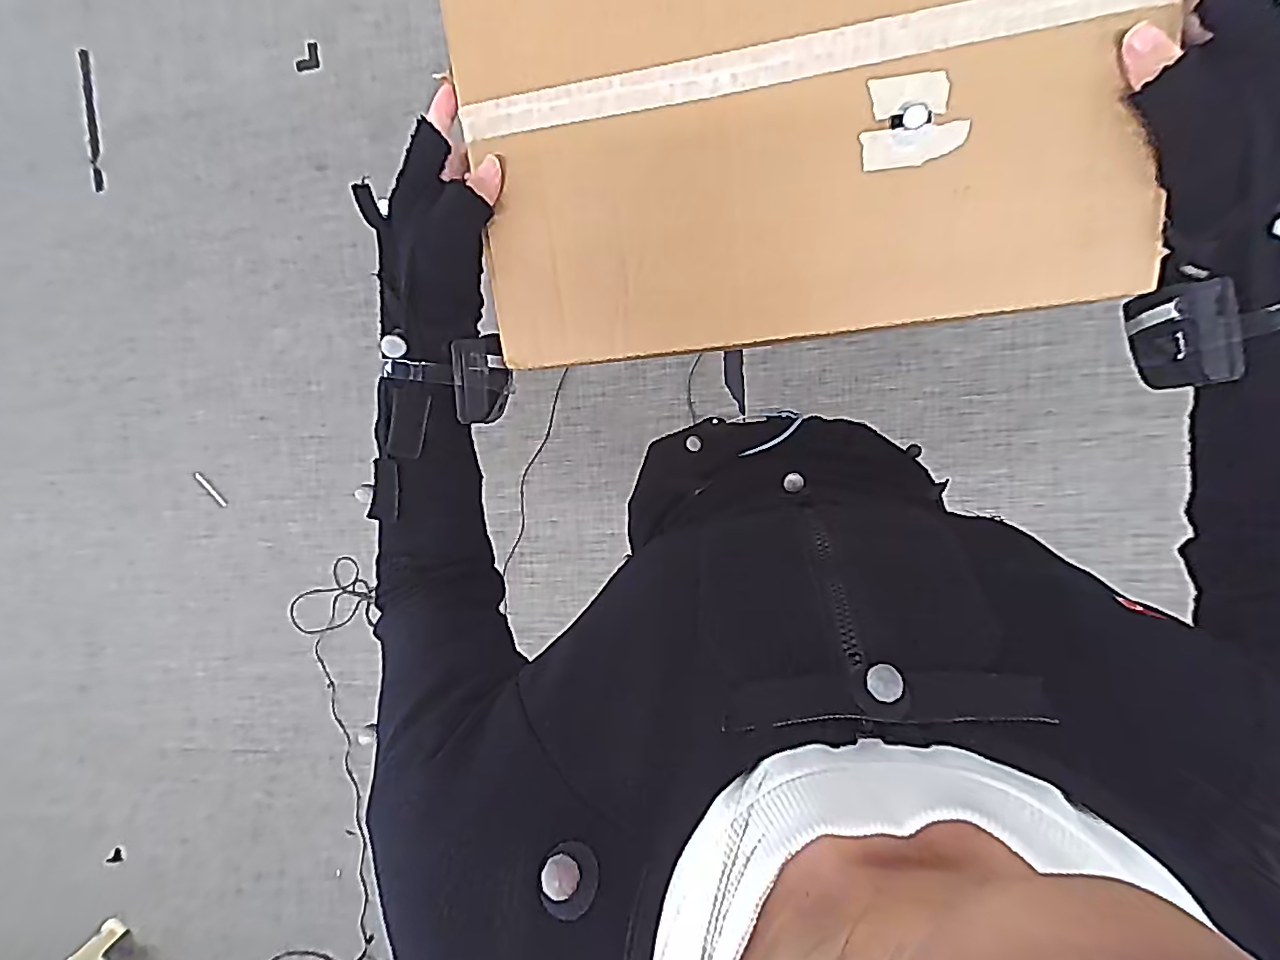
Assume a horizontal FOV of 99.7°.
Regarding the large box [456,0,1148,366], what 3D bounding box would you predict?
[{"bbox_3d":[0.104,-0.284,0.474,0.408,0.320,0.320,-6,103,8],"label":"large box"}]
